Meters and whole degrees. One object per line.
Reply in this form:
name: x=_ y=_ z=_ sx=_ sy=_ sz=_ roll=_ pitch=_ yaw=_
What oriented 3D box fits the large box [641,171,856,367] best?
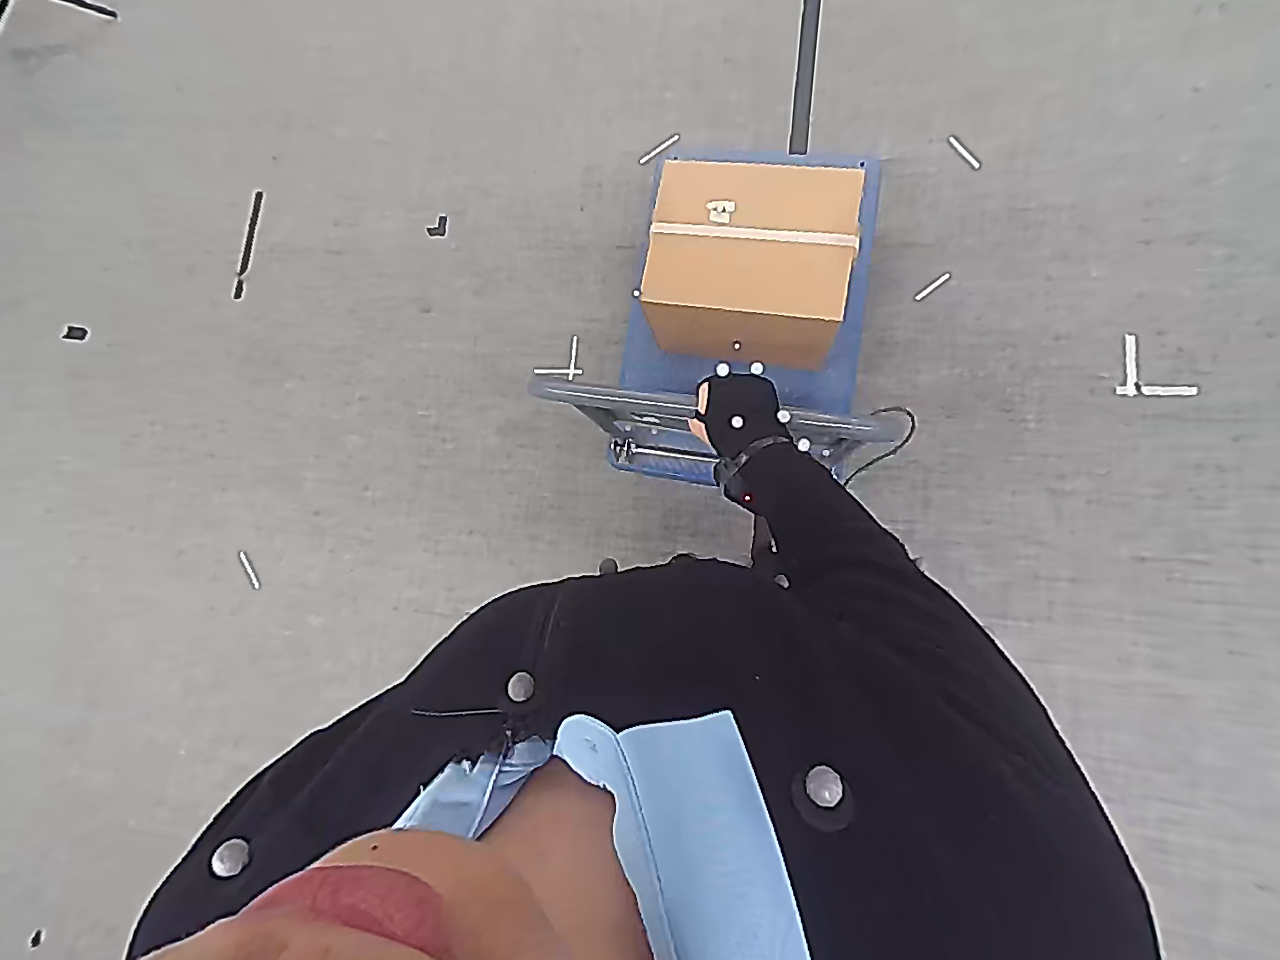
large box: x=0.247 y=-0.467 z=1.243 sx=0.408 sy=0.320 sz=0.320 roll=9 pitch=84 yaw=12
